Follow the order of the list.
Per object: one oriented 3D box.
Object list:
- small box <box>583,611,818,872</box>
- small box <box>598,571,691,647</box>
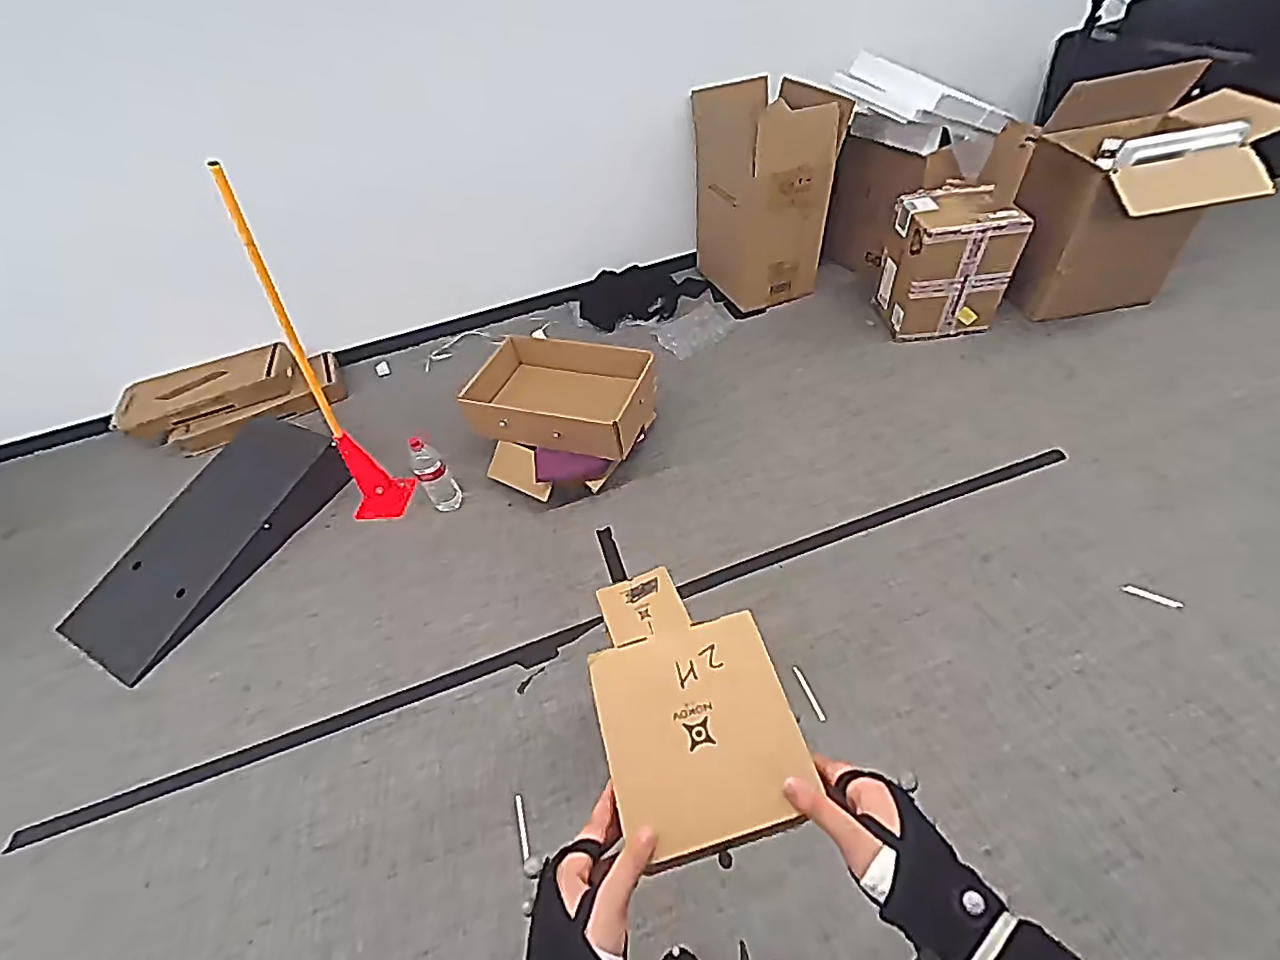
[{"bbox_3d":[0.052,0.261,0.534,0.168,0.176,0.179,-15,52,-5],"label":"small box"},{"bbox_3d":[0.019,0.336,1.186,0.168,0.176,0.179,-19,48,-9],"label":"small box"}]
